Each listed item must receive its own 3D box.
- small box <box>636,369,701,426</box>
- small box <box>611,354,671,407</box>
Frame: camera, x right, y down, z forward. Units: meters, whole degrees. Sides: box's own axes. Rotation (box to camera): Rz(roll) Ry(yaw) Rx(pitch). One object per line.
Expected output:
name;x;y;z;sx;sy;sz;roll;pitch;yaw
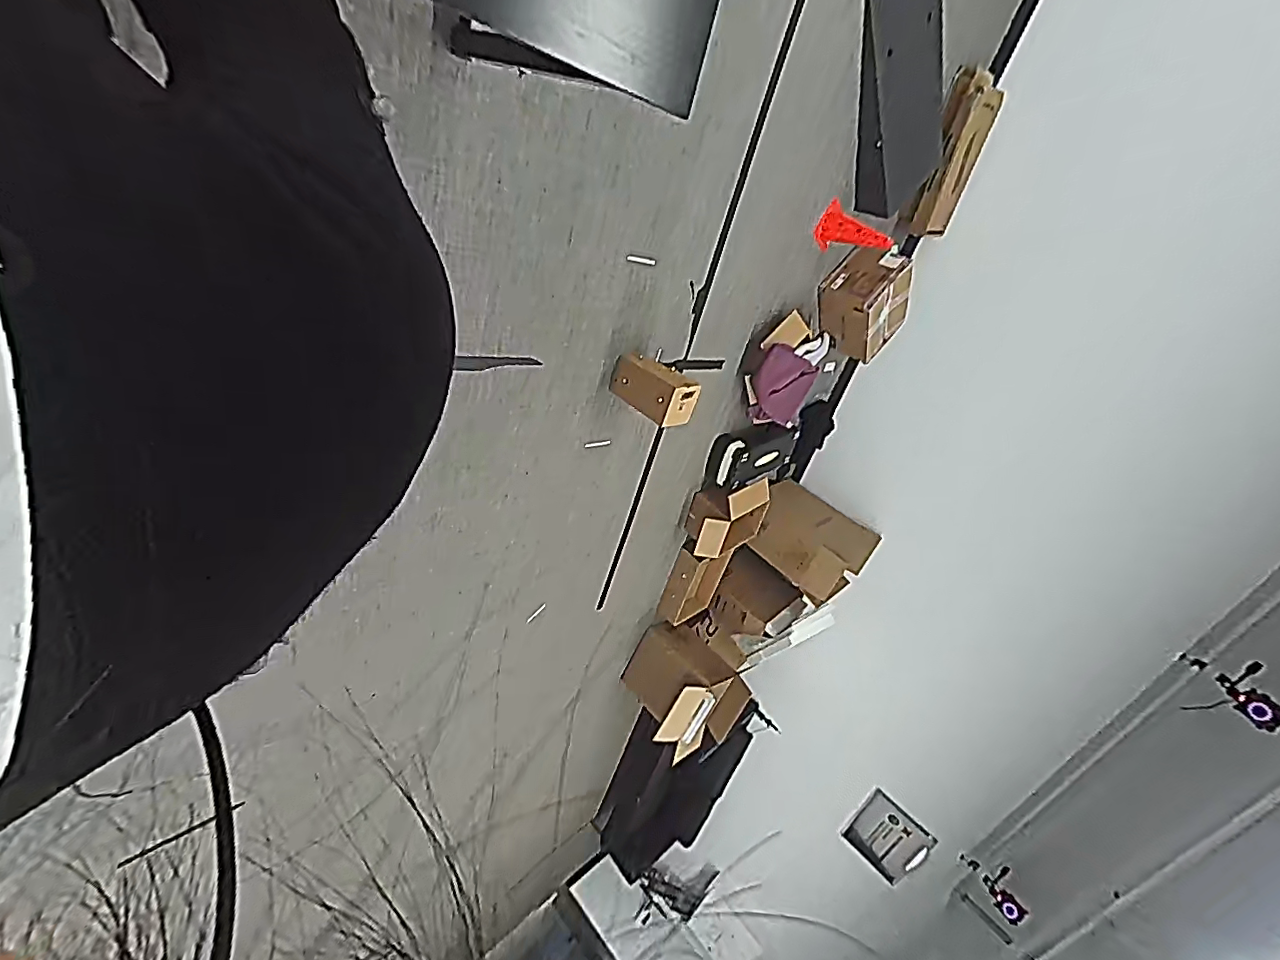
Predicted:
small box;0.108;-0.338;2.166;0.168;0.176;0.179;-14;133;-45
small box;0.005;-0.419;2.269;0.179;0.176;0.168;-11;130;-46
